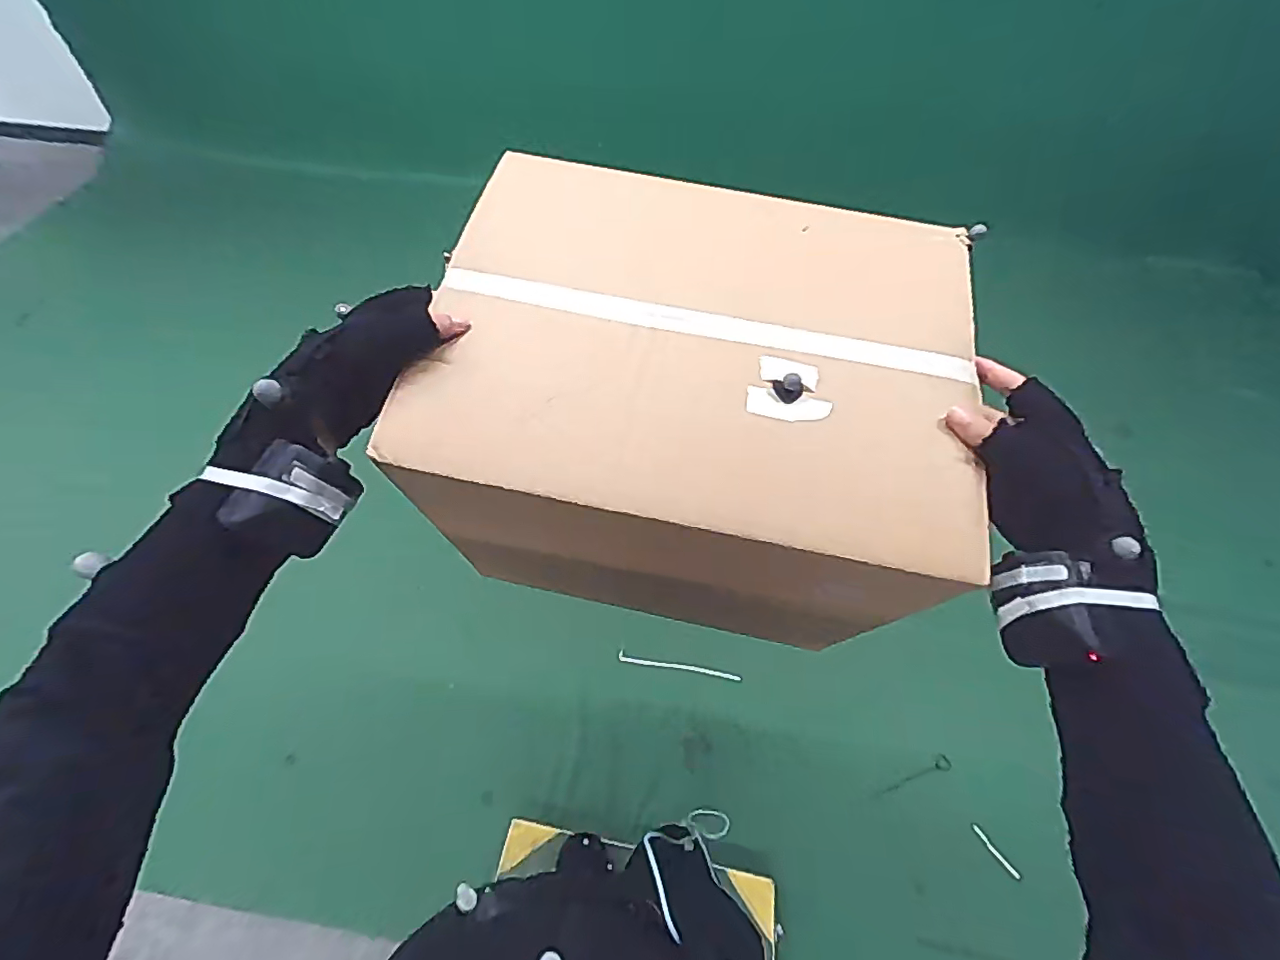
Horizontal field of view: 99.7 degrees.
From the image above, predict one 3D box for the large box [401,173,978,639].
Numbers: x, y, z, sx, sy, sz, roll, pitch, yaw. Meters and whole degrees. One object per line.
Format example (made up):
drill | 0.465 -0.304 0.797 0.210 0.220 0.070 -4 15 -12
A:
large box | 0.047 -0.048 0.558 0.408 0.320 0.320 12 66 2
